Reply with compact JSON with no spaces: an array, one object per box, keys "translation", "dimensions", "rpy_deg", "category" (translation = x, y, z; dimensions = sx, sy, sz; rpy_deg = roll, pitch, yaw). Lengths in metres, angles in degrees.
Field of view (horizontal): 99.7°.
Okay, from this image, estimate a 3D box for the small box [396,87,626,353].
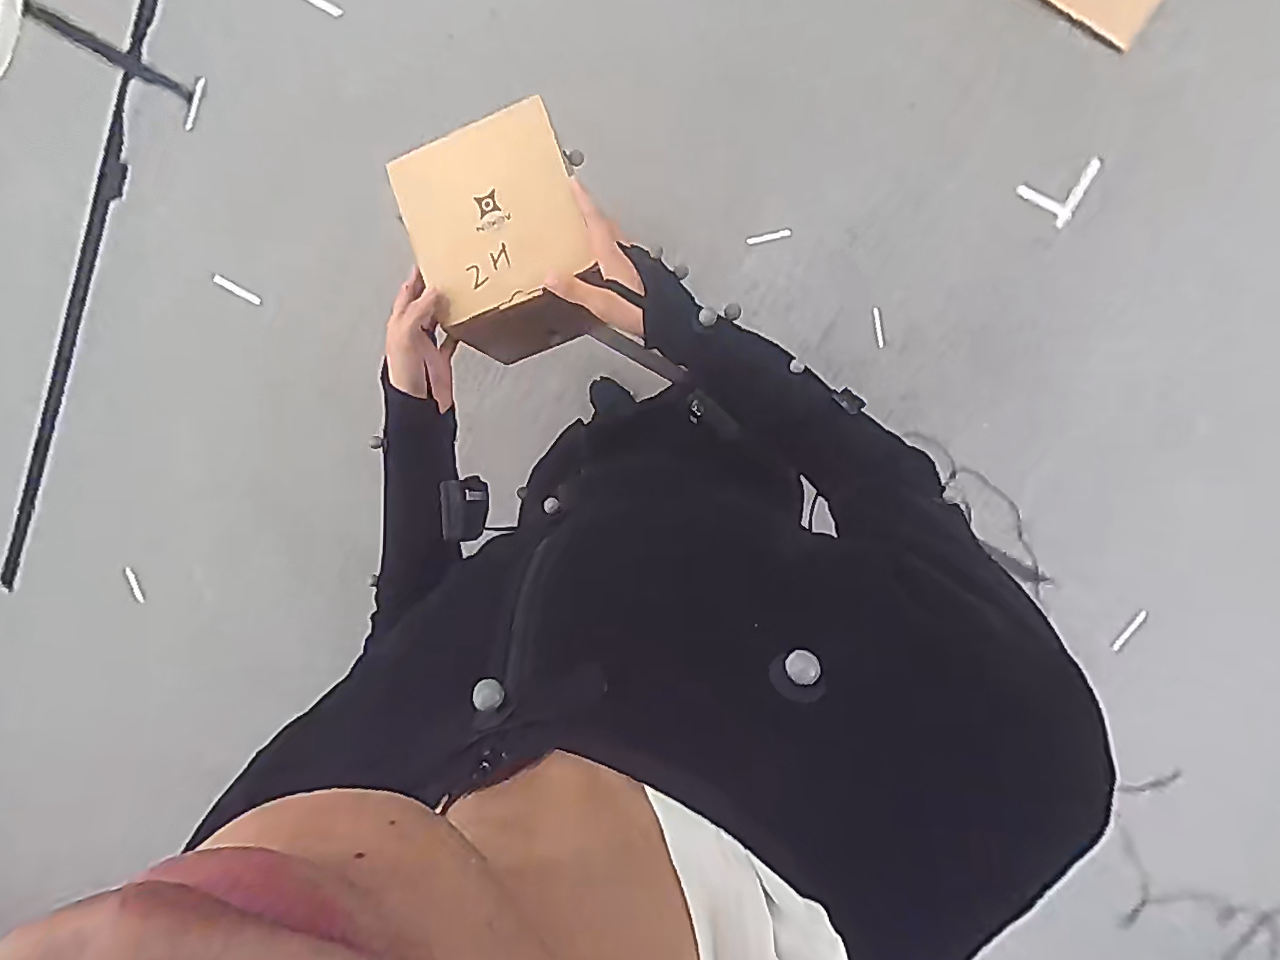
[{"translation":[-0.124,-0.260,0.586],"dimensions":[0.168,0.176,0.179],"rpy_deg":[-18,89,7],"category":"small box"}]
